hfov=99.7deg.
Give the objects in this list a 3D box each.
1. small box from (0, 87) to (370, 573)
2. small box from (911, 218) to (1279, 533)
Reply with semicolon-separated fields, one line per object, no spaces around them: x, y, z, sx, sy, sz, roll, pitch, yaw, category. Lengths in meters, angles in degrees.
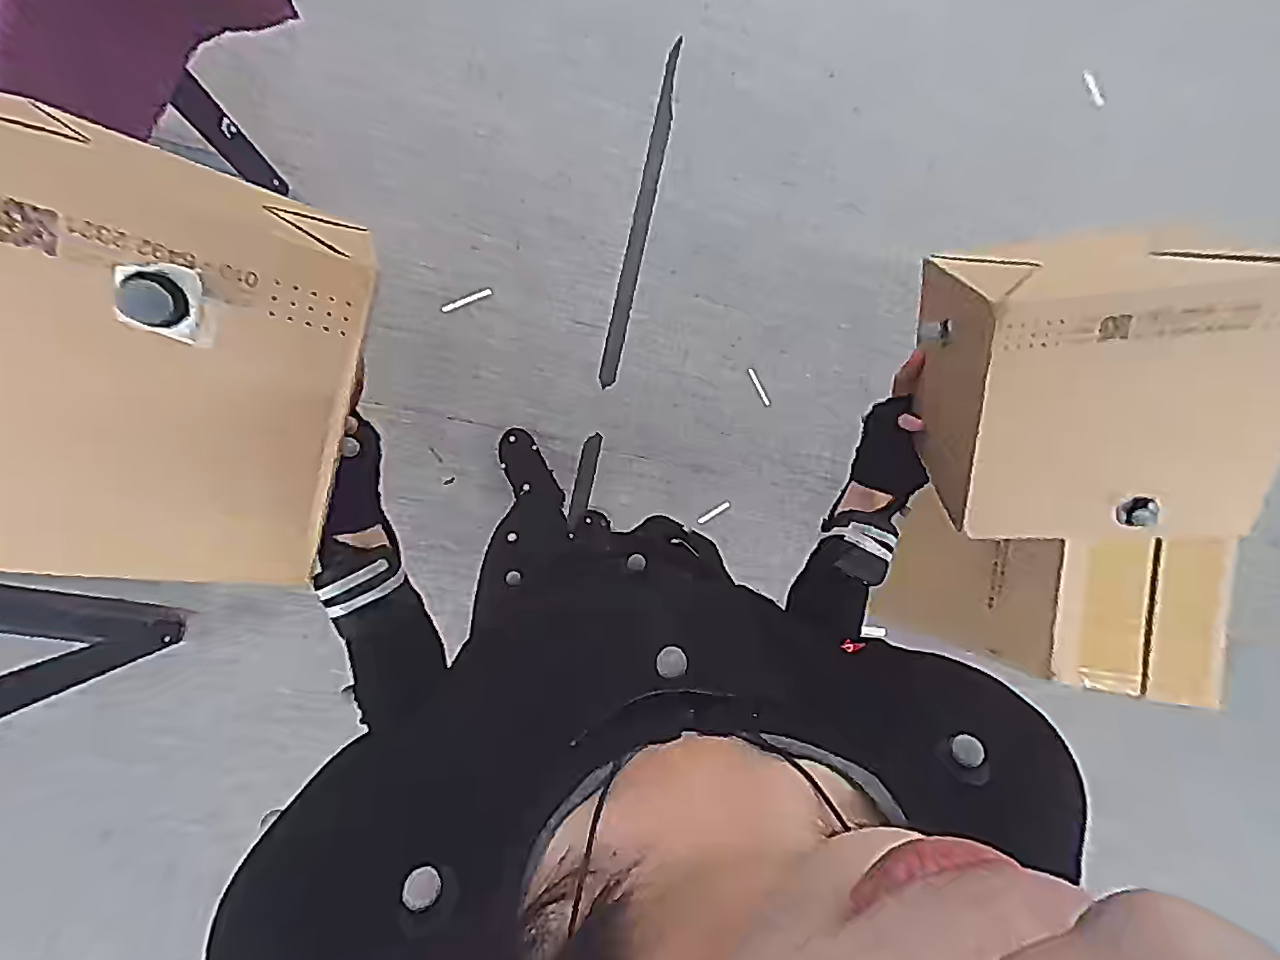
-0.242;-0.077;0.274;0.168;0.179;0.176;10;112;-30;small box
0.307;-0.080;0.388;0.168;0.179;0.176;-2;121;16;small box
